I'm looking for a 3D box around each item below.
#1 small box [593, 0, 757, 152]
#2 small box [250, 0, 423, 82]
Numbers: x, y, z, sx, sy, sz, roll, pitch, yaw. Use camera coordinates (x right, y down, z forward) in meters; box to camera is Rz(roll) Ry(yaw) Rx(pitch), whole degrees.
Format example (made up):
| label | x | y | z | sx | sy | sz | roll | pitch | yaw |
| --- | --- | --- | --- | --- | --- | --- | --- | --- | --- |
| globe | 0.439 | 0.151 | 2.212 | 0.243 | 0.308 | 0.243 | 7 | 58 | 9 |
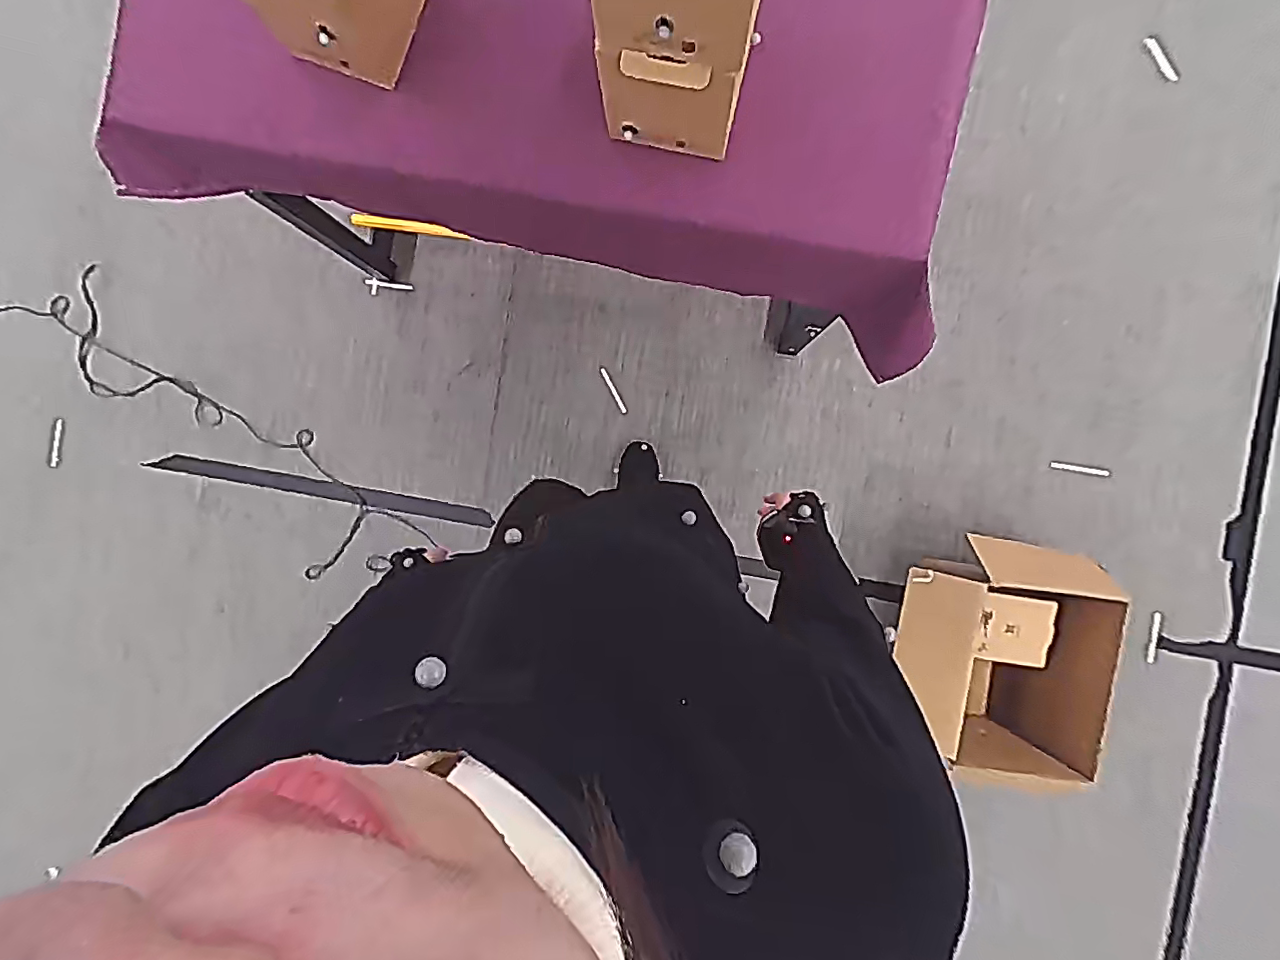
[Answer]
| label | x | y | z | sx | sy | sz | roll | pitch | yaw |
| --- | --- | --- | --- | --- | --- | --- | --- | --- | --- |
| small box | 0.050 | -0.548 | 0.670 | 0.168 | 0.176 | 0.179 | 13 | 91 | 2 |
| small box | -0.400 | -0.664 | 0.688 | 0.168 | 0.176 | 0.179 | 21 | 92 | 1 |
